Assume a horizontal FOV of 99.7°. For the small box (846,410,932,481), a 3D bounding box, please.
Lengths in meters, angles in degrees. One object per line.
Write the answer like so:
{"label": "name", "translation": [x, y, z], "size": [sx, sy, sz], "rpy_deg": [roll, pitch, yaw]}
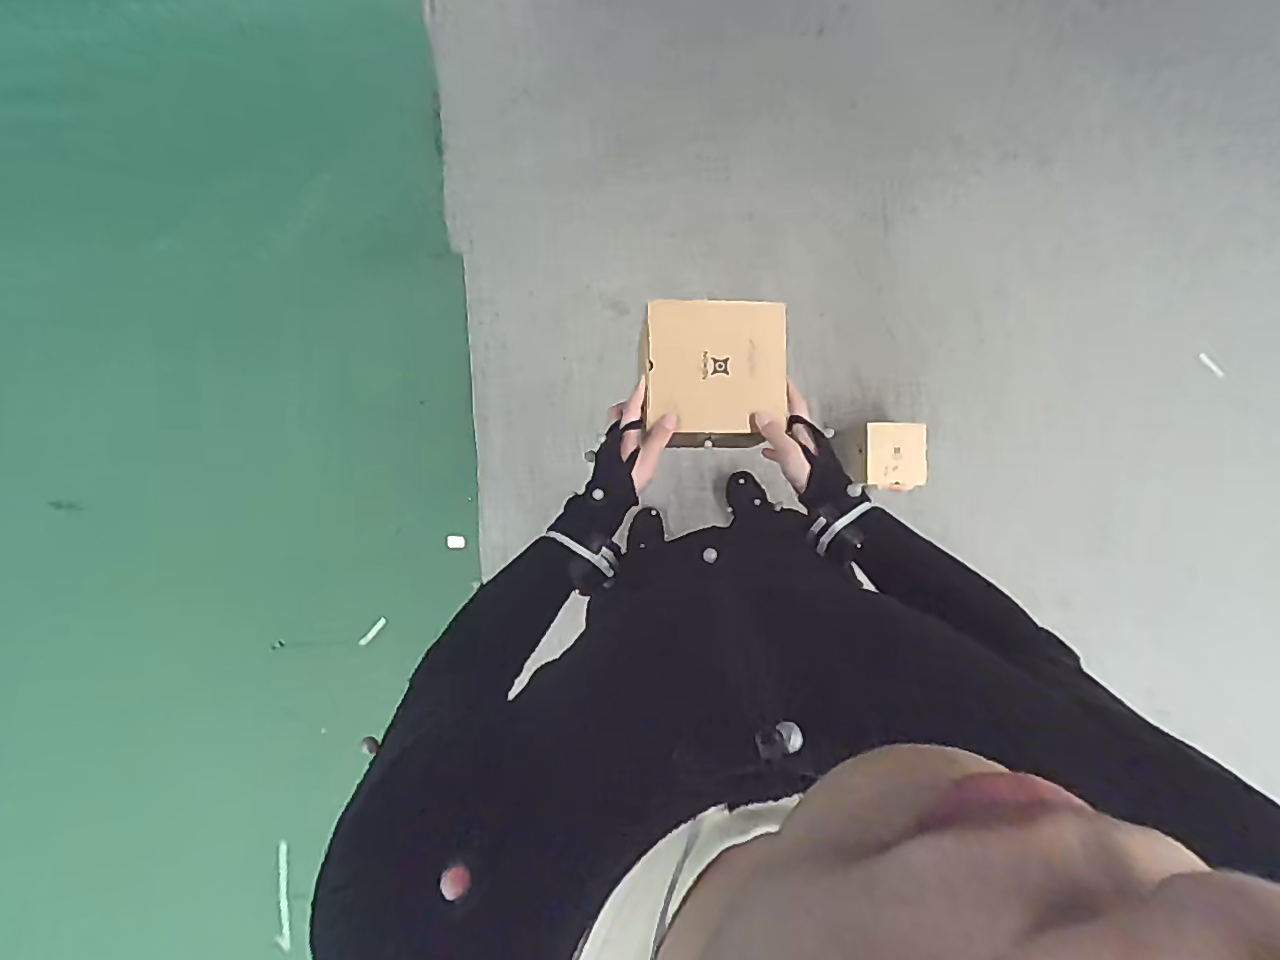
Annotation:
{"label": "small box", "translation": [0.713, -0.096, 1.565], "size": [0.168, 0.176, 0.179], "rpy_deg": [8, 90, 3]}

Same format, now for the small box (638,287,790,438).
{"label": "small box", "translation": [0.090, -0.148, 0.737], "size": [0.179, 0.176, 0.168], "rpy_deg": [1, 89, -6]}
